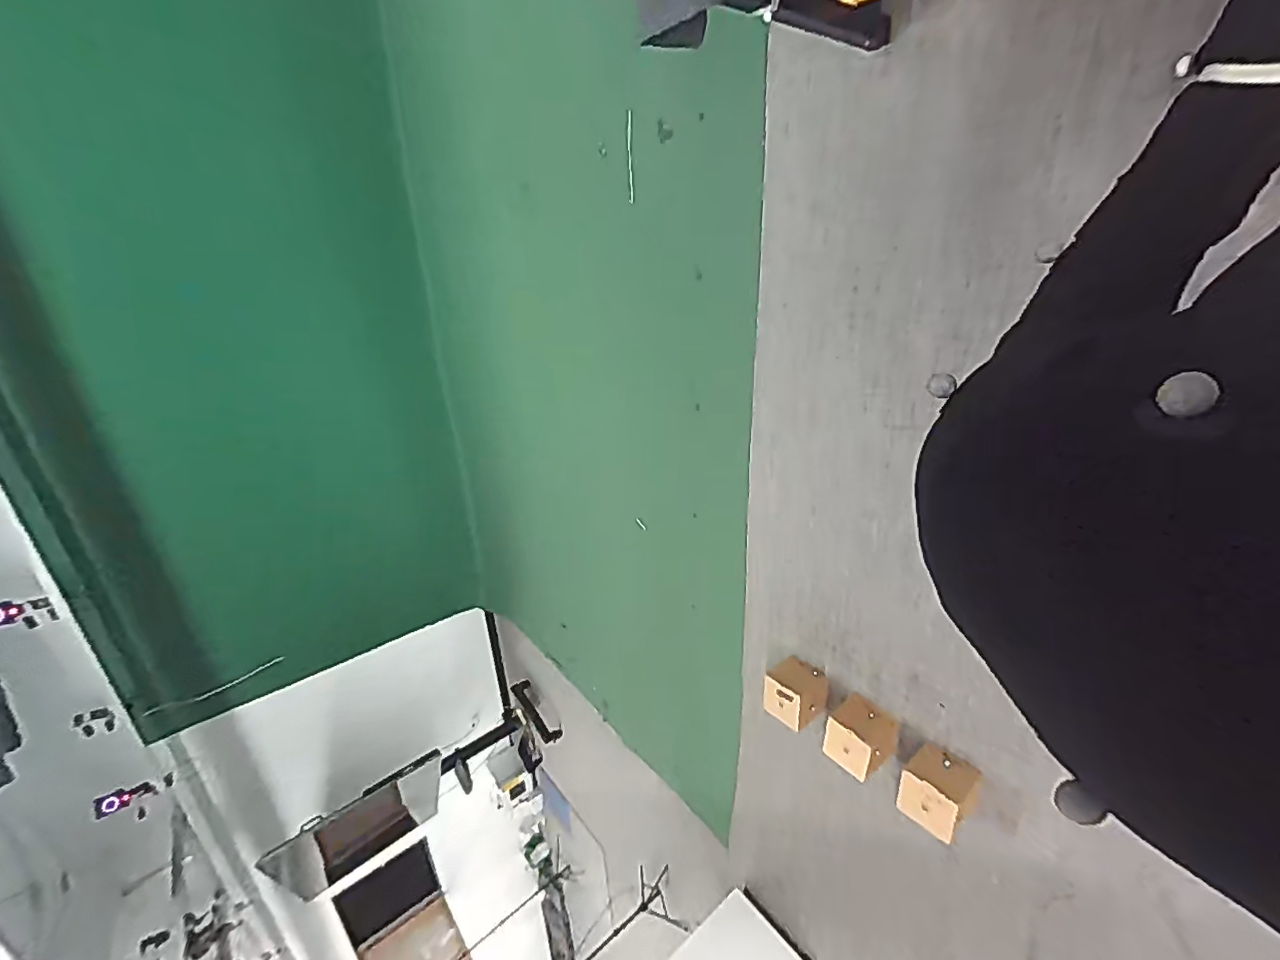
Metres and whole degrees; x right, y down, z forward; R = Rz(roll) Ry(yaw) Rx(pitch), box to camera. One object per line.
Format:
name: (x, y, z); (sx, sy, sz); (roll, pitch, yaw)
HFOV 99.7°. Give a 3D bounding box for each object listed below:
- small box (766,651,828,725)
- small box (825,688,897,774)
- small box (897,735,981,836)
small box: (0.607, 0.795, 2.090); (0.168, 0.176, 0.179); (23, 124, 48)
small box: (0.775, 0.873, 1.894); (0.168, 0.176, 0.179); (27, 126, 46)
small box: (0.938, 0.950, 1.696); (0.168, 0.176, 0.179); (23, 124, 46)
